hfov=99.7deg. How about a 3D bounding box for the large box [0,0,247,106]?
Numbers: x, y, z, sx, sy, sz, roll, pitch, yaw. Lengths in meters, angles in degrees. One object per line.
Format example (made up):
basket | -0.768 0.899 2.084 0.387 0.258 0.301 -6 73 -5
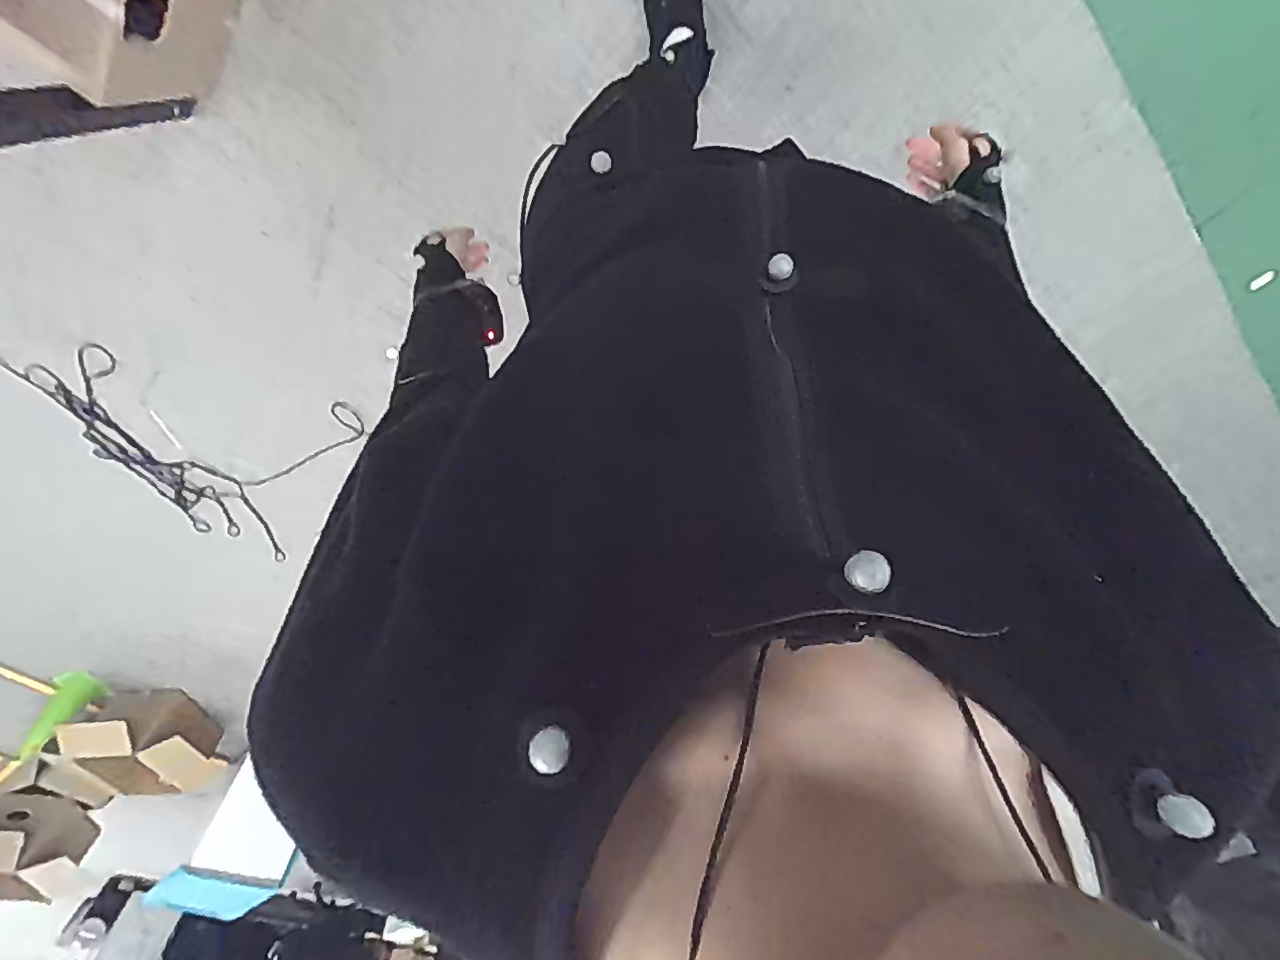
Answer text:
large box | -0.928 -0.892 0.854 0.408 0.320 0.320 33 121 -25
